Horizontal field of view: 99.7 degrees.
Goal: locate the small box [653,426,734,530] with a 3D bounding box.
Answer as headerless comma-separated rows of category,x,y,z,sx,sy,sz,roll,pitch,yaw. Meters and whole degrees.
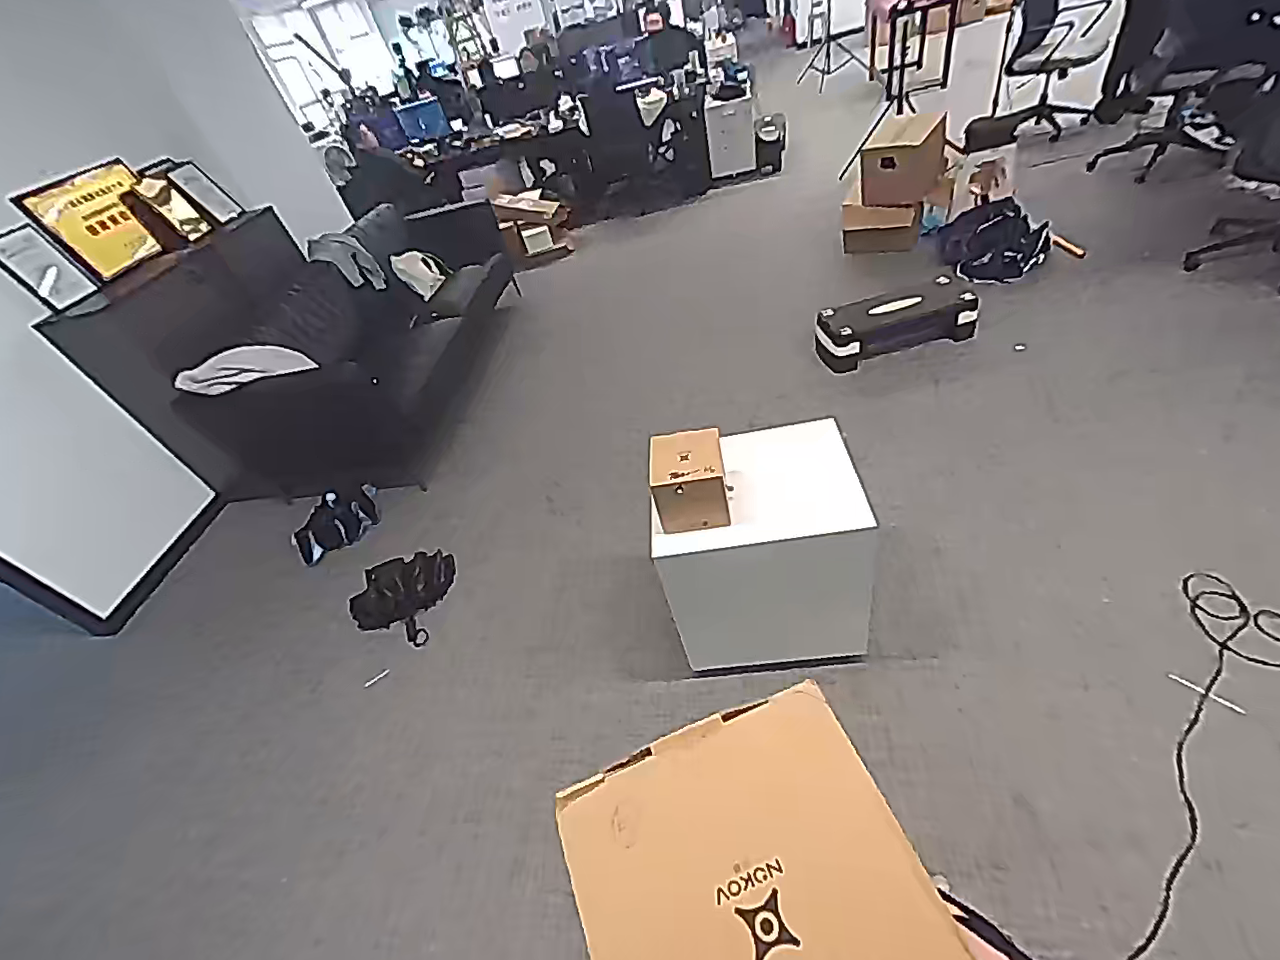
small box,0.130,-0.003,1.301,0.168,0.176,0.179,-8,42,11

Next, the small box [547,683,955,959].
small box,0.058,0.257,0.328,0.168,0.176,0.179,-20,56,-8
